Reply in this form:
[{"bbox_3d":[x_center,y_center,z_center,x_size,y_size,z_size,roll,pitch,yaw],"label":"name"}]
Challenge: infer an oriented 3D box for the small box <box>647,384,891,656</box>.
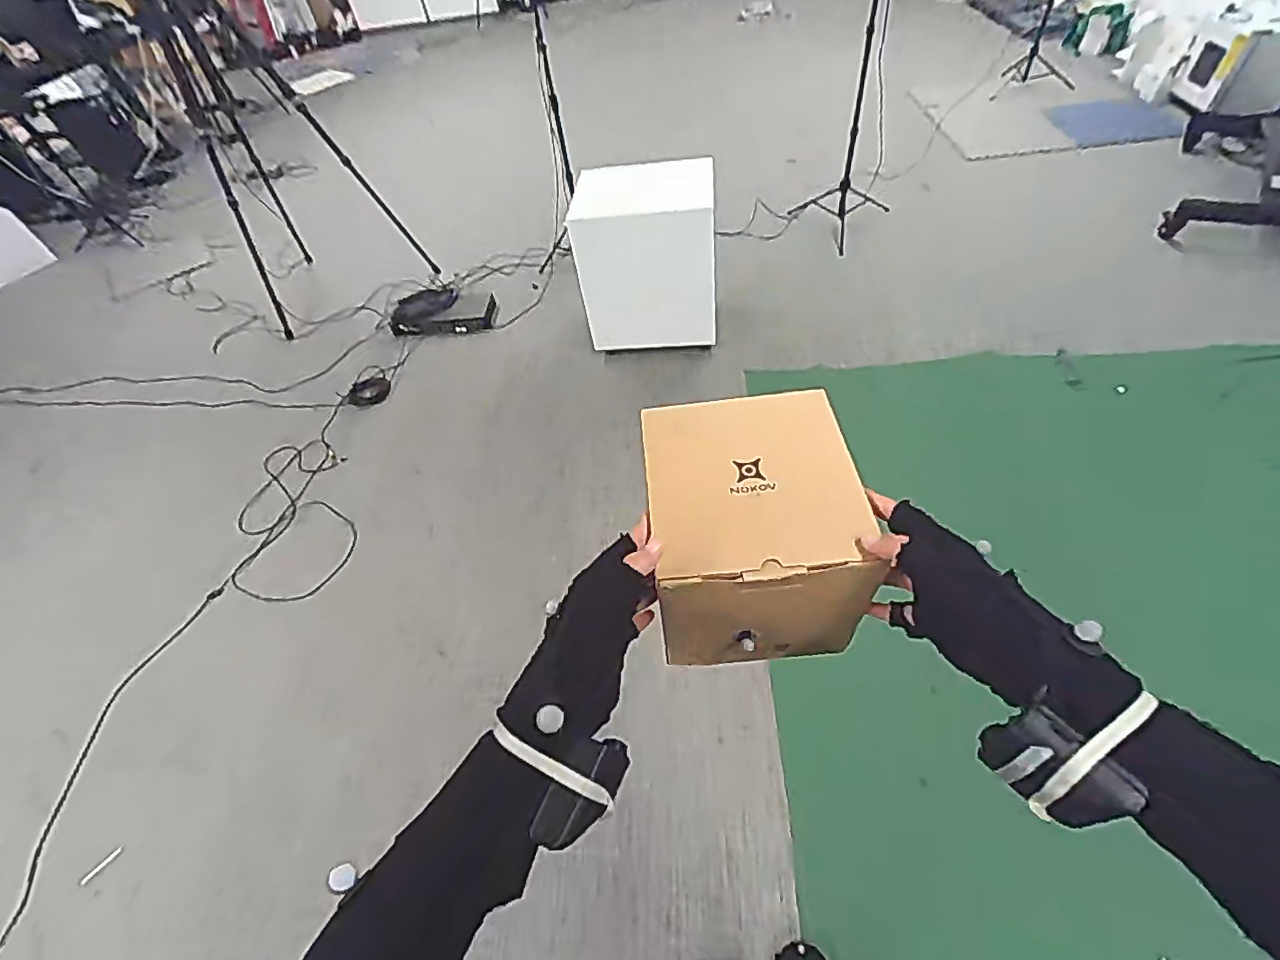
[{"bbox_3d":[0.096,0.039,0.491,0.168,0.176,0.179,-6,51,2],"label":"small box"}]
